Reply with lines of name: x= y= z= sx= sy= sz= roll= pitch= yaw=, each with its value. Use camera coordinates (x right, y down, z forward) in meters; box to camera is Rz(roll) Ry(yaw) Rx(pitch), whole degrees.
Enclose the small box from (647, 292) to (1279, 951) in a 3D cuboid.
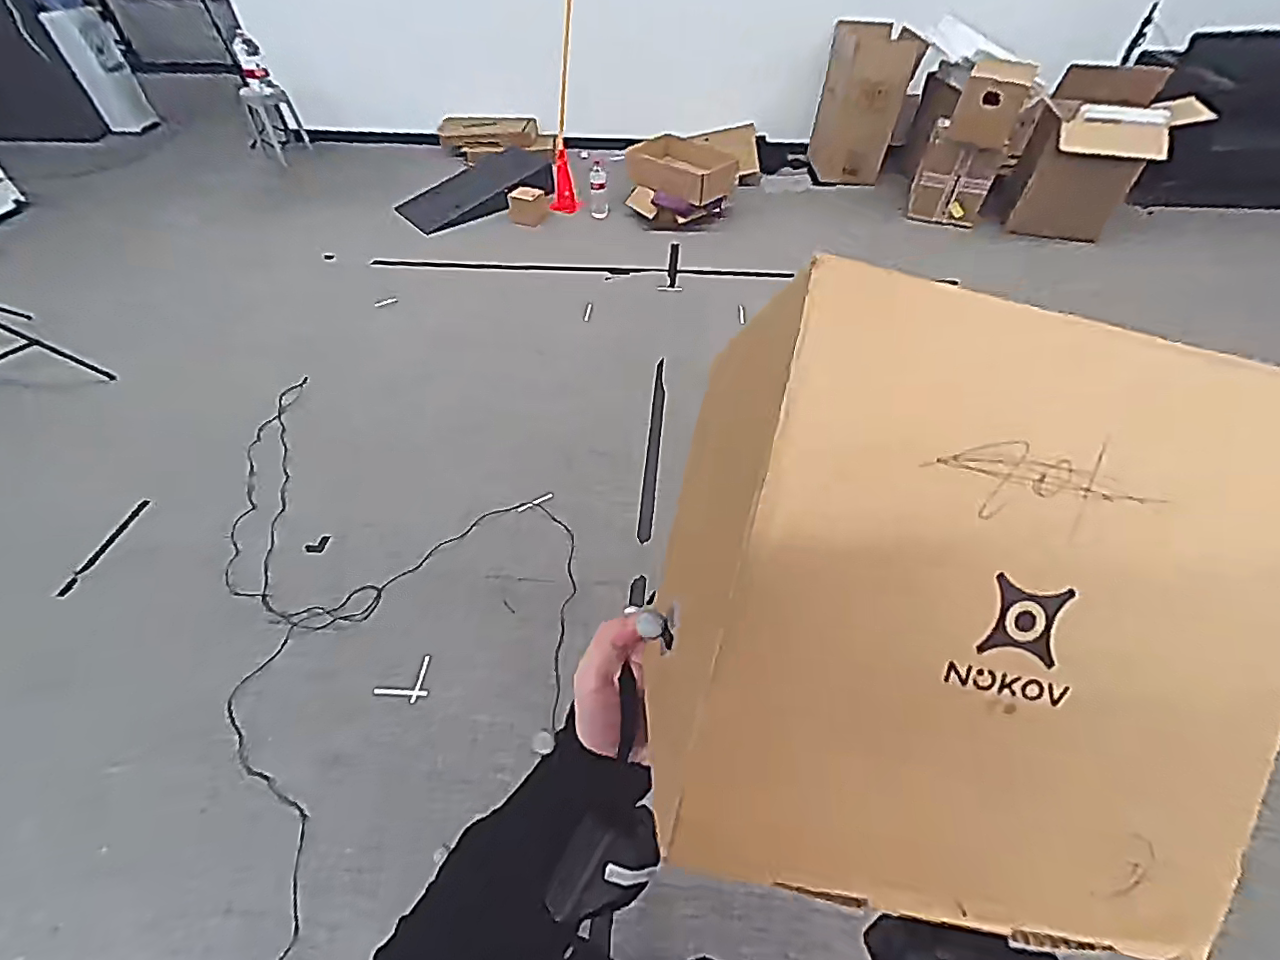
small box: x=0.100 y=0.043 z=0.243 sx=0.168 sy=0.176 sz=0.179 roll=13 pitch=92 yaw=-3
